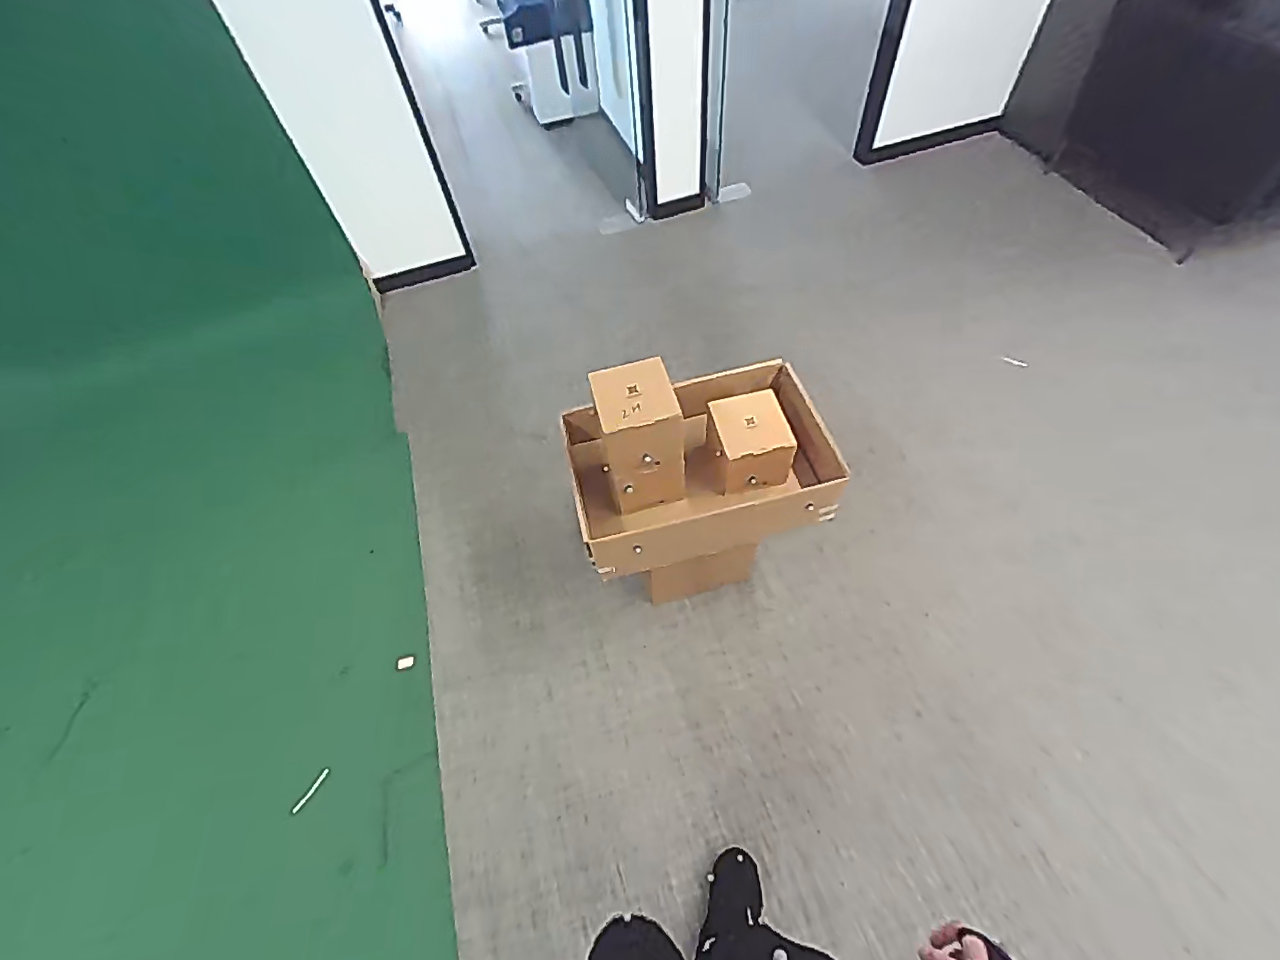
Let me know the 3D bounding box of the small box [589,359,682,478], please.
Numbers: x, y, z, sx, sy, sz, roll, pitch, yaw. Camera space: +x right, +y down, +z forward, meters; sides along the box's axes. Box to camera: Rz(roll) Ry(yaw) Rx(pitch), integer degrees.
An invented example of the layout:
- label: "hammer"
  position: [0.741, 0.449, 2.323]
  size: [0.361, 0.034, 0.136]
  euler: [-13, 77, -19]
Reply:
- label: "small box"
  position: [-0.008, -0.131, 1.185]
  size: [0.168, 0.176, 0.179]
  euler: [-14, 56, -4]

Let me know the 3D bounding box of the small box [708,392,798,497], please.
- label: "small box"
  position: [0.267, -0.085, 1.329]
  size: [0.168, 0.176, 0.179]
  euler: [-13, 57, -3]
